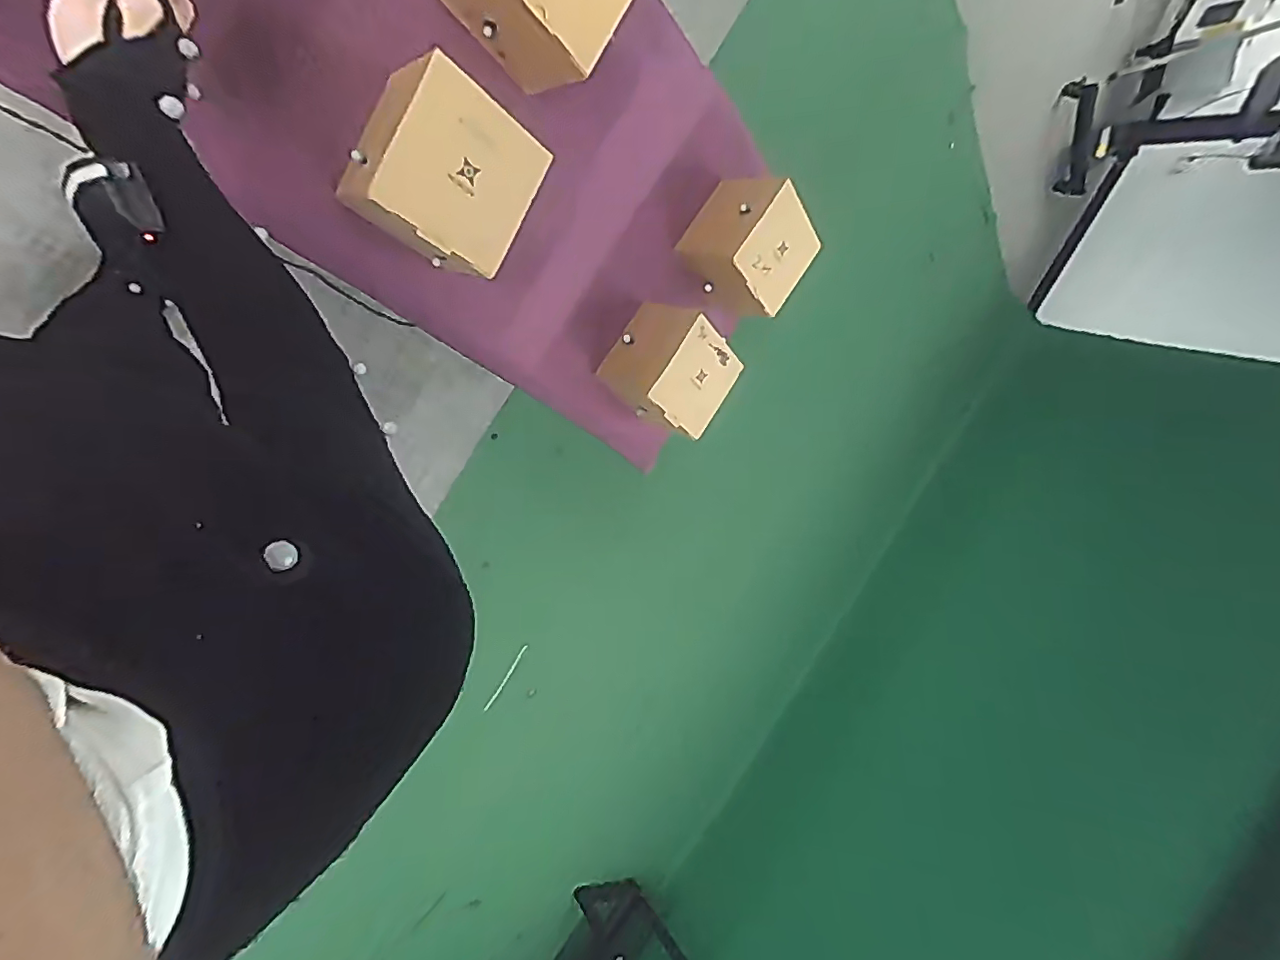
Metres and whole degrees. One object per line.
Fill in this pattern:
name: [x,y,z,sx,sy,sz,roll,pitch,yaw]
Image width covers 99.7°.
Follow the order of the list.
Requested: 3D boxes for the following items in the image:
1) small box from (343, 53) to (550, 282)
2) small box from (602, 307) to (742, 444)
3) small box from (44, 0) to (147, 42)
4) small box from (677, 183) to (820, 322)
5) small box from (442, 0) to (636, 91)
small box: [-0.251,-0.379,0.685,0.168,0.176,0.179,25,94,-45]
small box: [0.052,-0.201,1.026,0.168,0.176,0.179,37,86,-44]
small box: [-0.479,-0.495,0.419,0.168,0.176,0.179,22,94,-45]
small box: [0.202,-0.434,1.027,0.168,0.176,0.179,37,88,-44]
small box: [-0.118,-0.624,0.664,0.168,0.176,0.179,29,94,-45]
